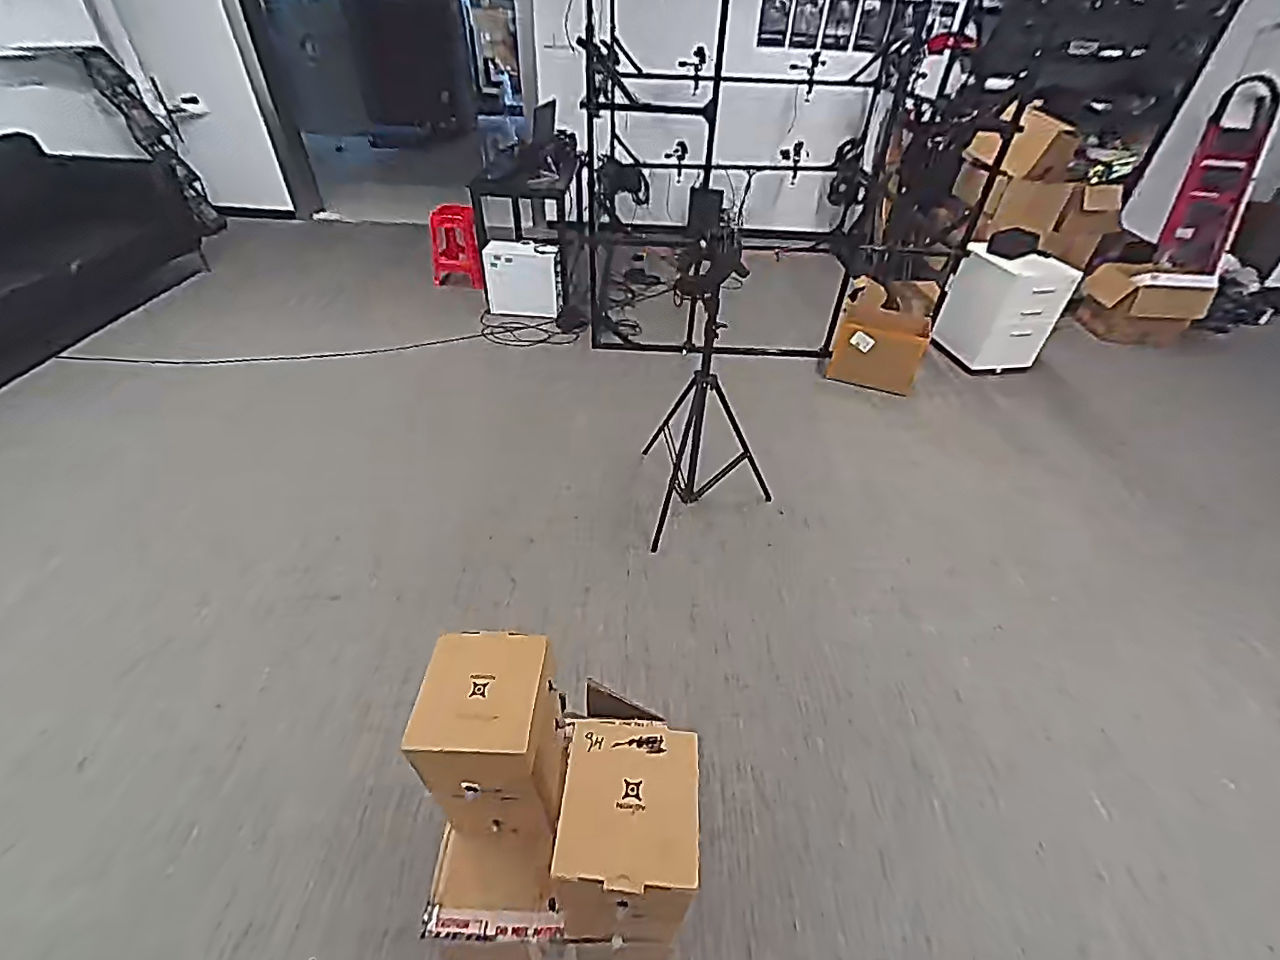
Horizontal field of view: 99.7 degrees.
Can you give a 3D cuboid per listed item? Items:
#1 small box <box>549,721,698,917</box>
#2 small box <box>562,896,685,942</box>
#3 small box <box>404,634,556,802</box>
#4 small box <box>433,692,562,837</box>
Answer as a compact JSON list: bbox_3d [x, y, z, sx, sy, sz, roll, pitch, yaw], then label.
[{"bbox_3d":[-0.016,0.446,0.710,0.168,0.176,0.179,6,43,1],"label":"small box"},{"bbox_3d":[-0.025,0.570,0.819,0.168,0.176,0.179,2,42,-1],"label":"small box"},{"bbox_3d":[-0.222,0.352,0.807,0.168,0.176,0.179,0,42,1],"label":"small box"},{"bbox_3d":[-0.227,0.475,0.915,0.168,0.176,0.179,1,42,0],"label":"small box"}]
